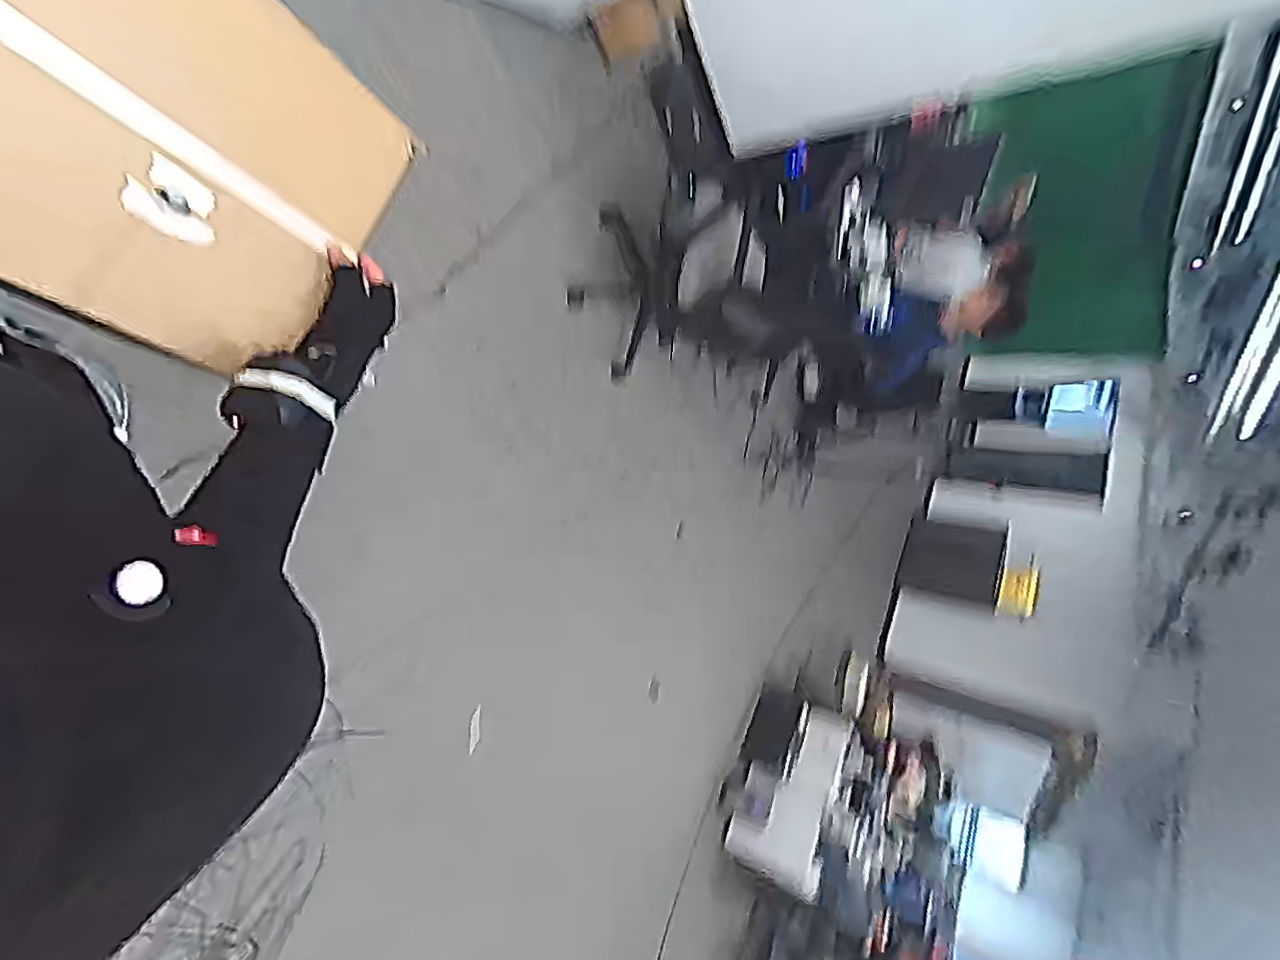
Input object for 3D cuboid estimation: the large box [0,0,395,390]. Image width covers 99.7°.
[{"bbox_3d":[-0.534,-0.320,0.492,0.408,0.320,0.320,32,77,-53],"label":"large box"}]
